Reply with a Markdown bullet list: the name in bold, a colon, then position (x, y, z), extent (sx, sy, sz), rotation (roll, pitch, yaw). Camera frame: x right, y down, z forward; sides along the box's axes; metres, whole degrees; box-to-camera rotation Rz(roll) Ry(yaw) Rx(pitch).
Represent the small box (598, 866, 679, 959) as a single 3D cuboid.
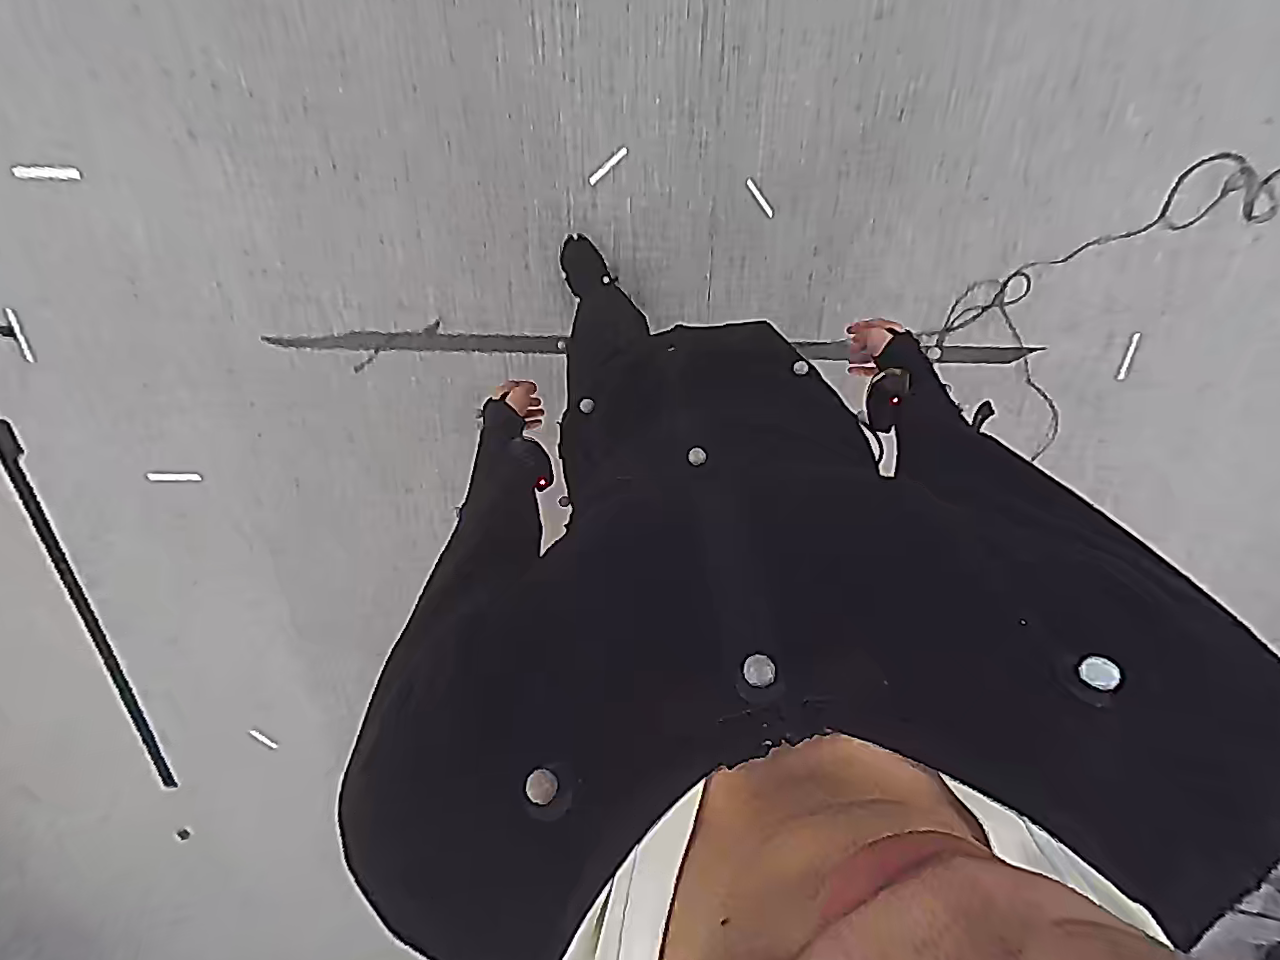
- **small box**: position (-0.002, 1.028, 1.248), extent (0.179, 0.176, 0.168), rotation (-3, 114, -1)
